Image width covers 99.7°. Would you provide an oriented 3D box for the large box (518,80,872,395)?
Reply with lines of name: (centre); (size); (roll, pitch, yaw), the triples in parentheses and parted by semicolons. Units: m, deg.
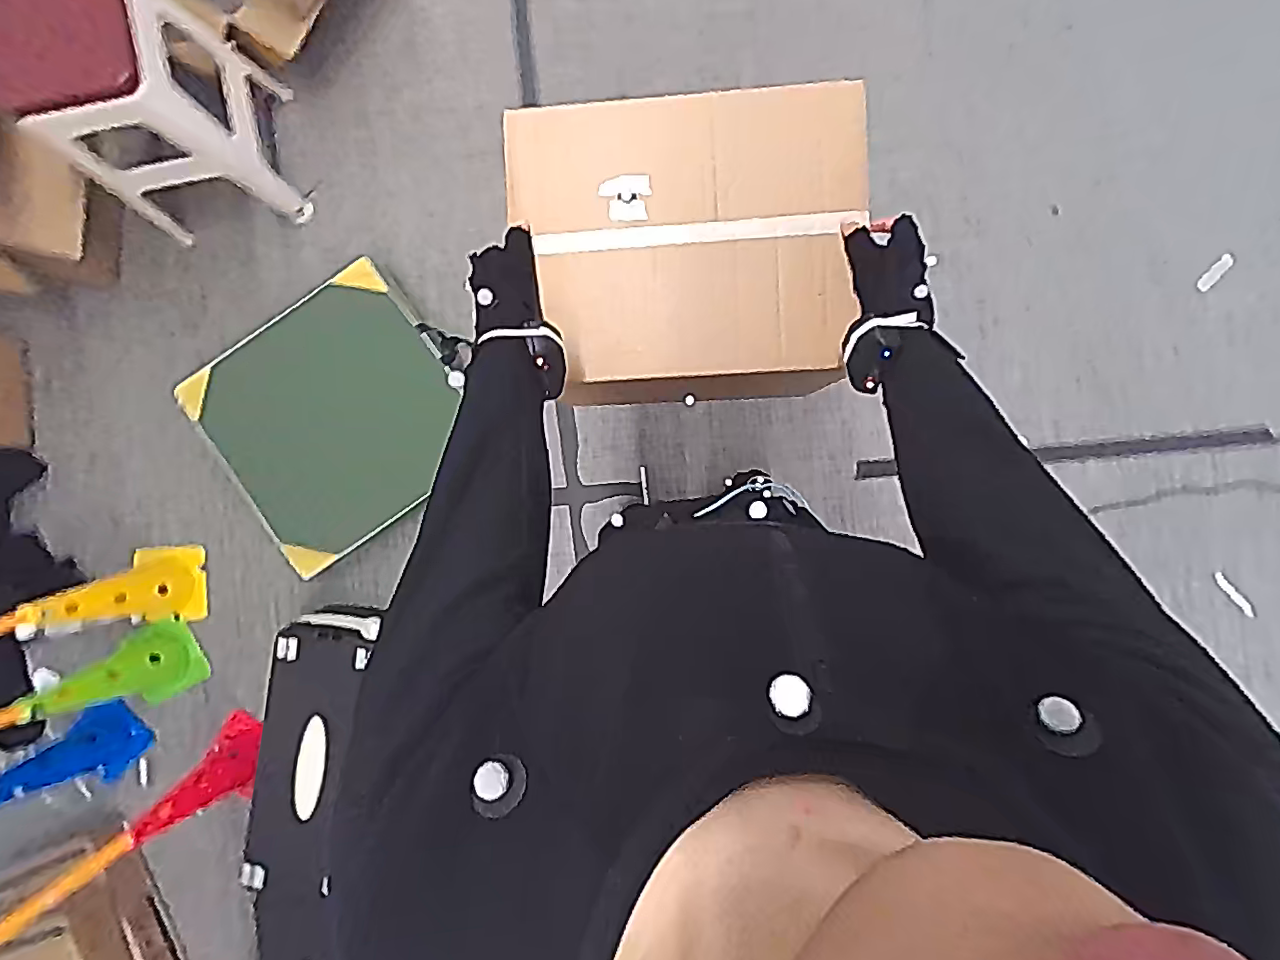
large box: (0.073, -0.292, 0.766); (0.408, 0.320, 0.320); (-1, 92, 4)
